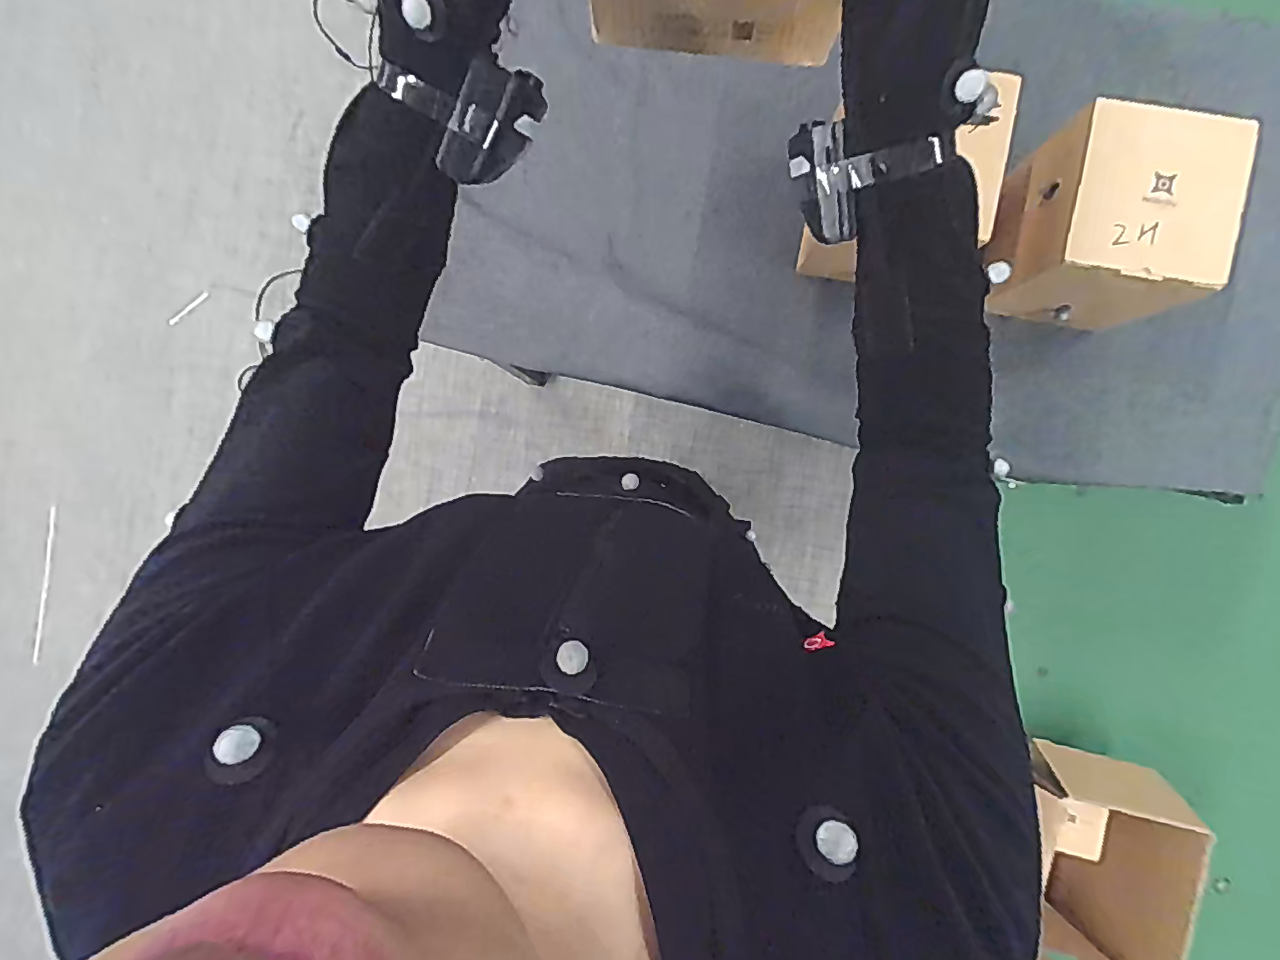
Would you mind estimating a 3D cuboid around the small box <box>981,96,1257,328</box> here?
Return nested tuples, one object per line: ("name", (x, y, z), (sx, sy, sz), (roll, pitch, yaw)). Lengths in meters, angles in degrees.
("small box", (0.540, -0.299, 0.637), (0.168, 0.176, 0.179), (11, 91, 3))
